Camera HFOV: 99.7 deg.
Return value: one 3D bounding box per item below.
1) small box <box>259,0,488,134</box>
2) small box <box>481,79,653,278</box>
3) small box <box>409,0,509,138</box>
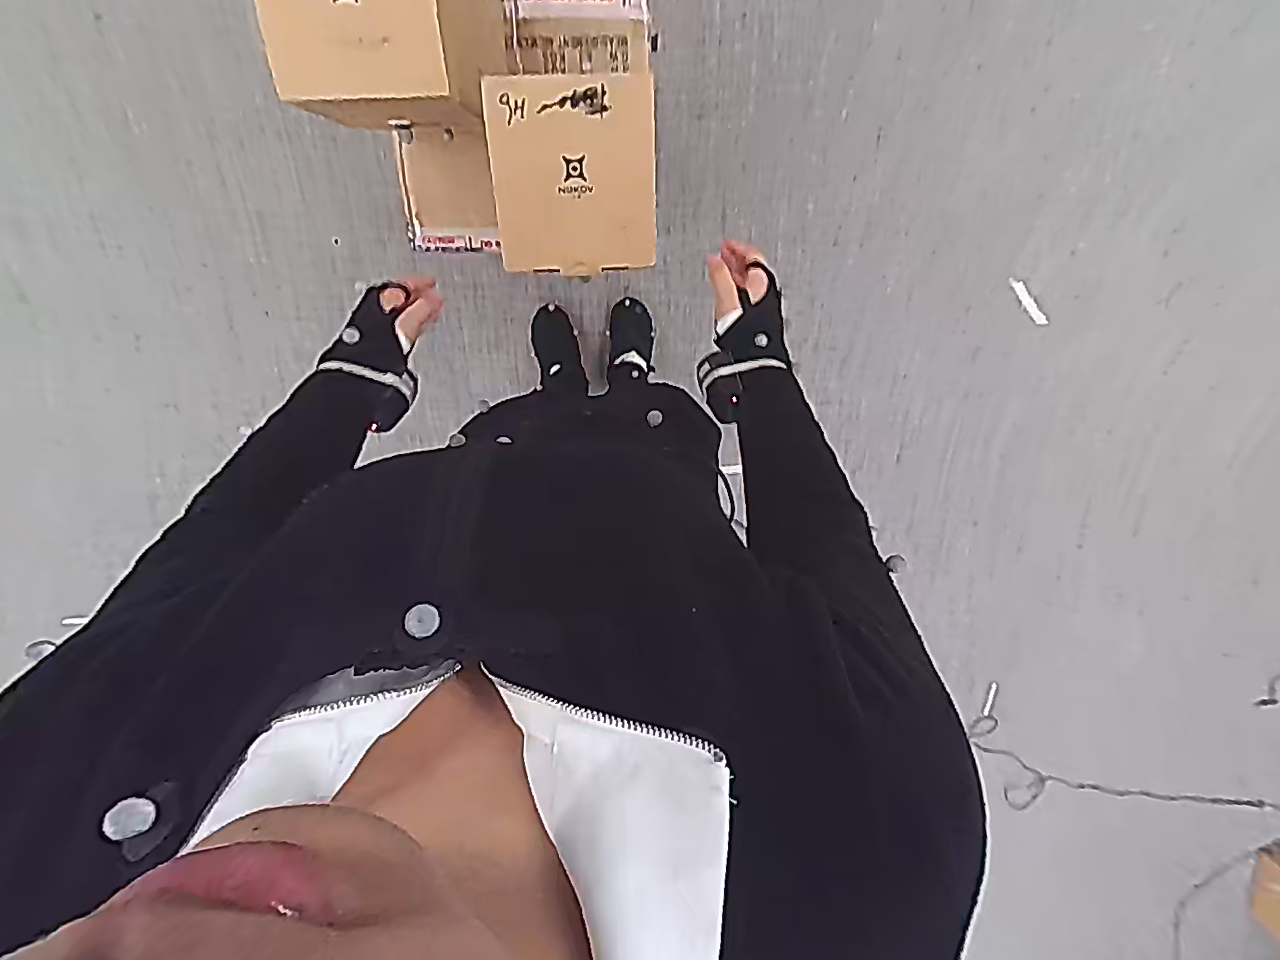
[{"bbox_3d":[-0.260,-0.472,0.553,0.168,0.176,0.179,-1,115,1],"label":"small box"},{"bbox_3d":[-0.070,-0.333,0.618,0.168,0.176,0.179,-2,115,-2],"label":"small box"},{"bbox_3d":[-0.269,-0.556,0.693,0.168,0.176,0.179,-1,114,0],"label":"small box"}]
